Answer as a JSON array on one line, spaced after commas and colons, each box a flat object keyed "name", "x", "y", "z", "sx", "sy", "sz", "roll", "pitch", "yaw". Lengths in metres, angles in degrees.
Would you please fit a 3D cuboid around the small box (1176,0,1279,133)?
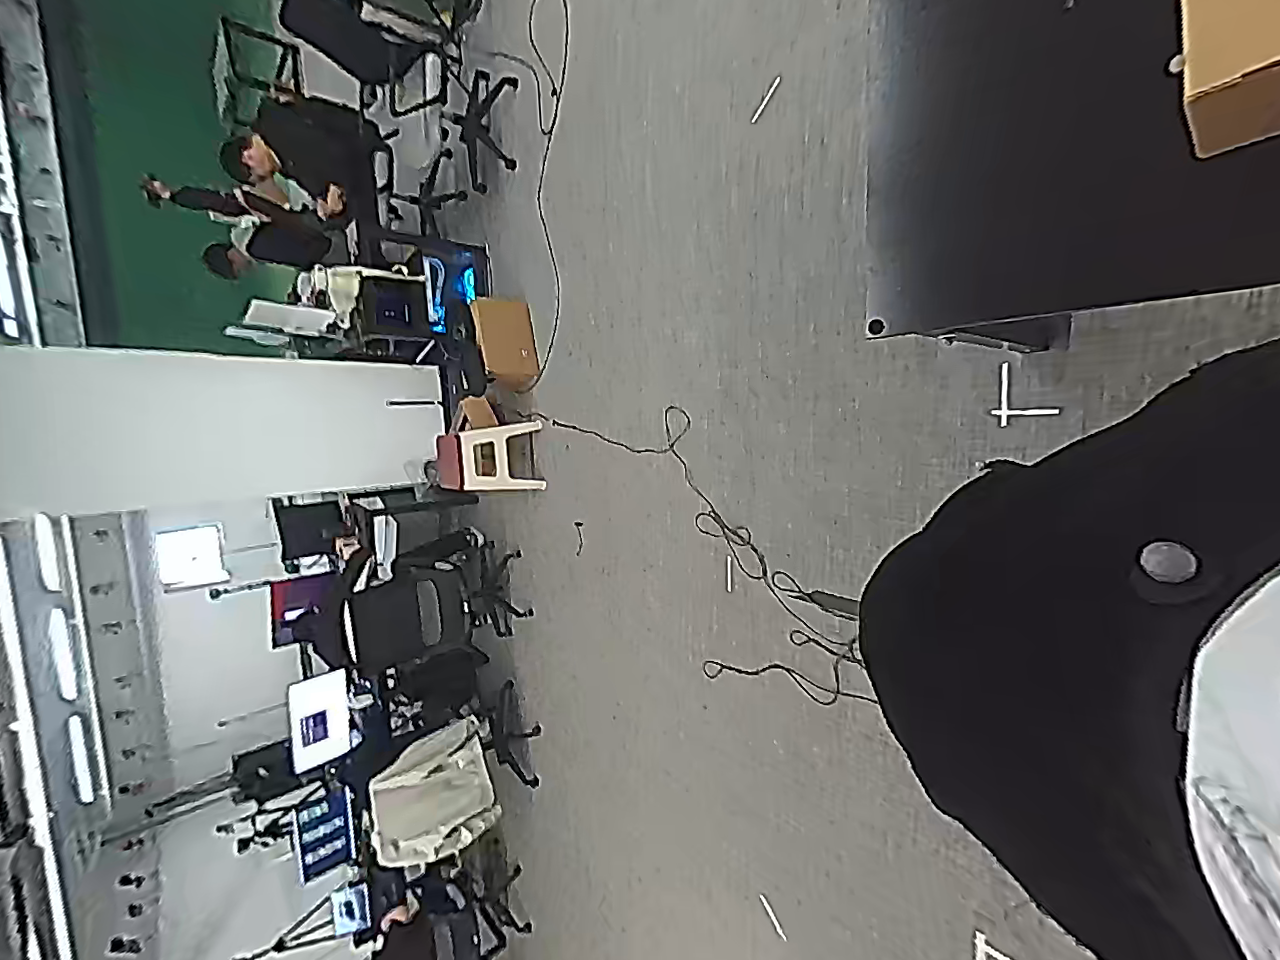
[{"name": "small box", "x": 0.550, "y": -0.410, "z": 0.427, "sx": 0.168, "sy": 0.176, "sz": 0.179, "roll": -1, "pitch": 95, "yaw": 50}]
